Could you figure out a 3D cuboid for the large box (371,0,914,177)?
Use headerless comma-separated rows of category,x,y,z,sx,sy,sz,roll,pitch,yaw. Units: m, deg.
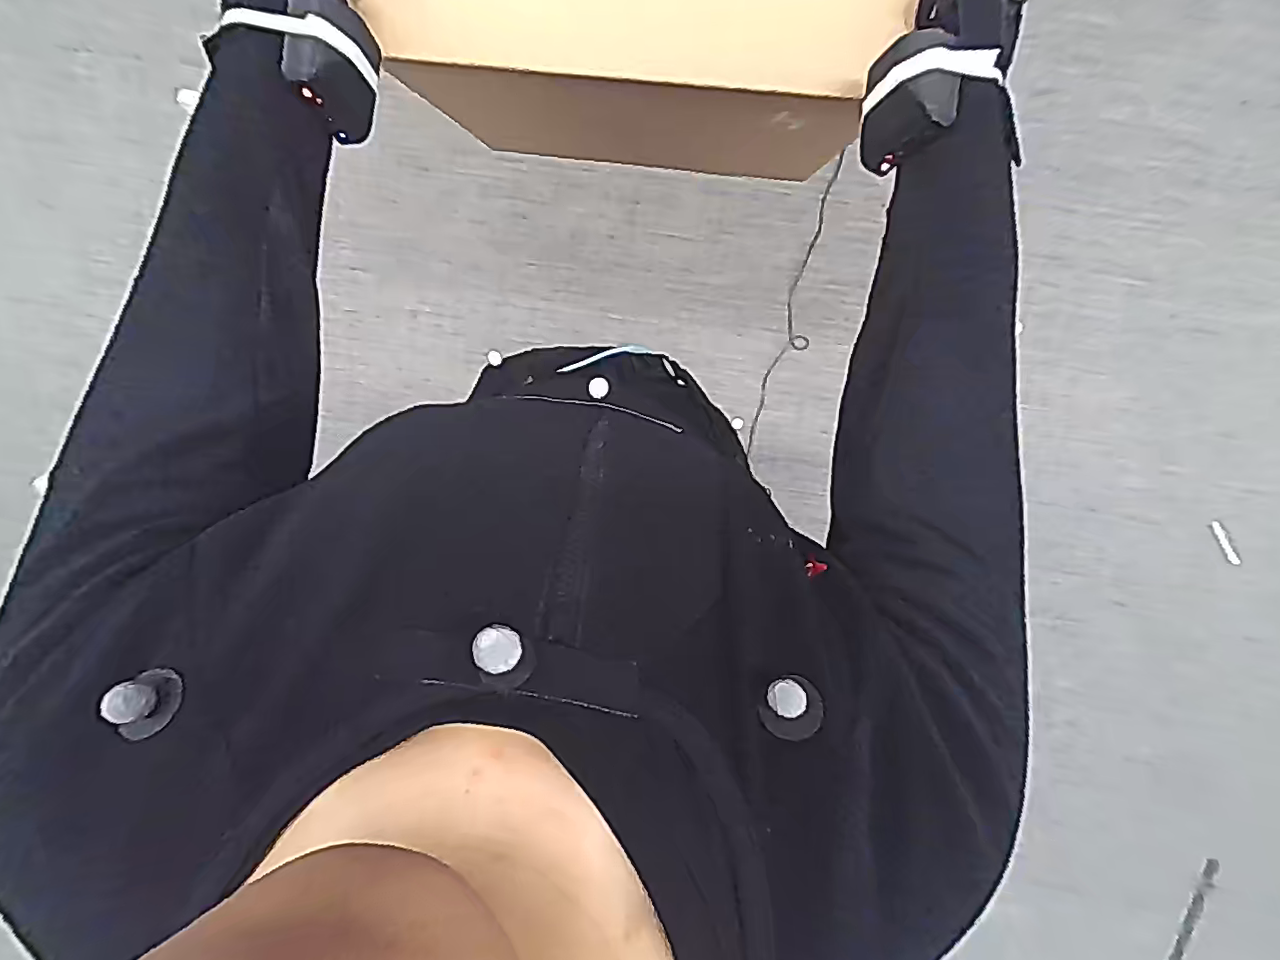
large box,0.012,-0.494,0.499,0.408,0.320,0.320,6,110,1
